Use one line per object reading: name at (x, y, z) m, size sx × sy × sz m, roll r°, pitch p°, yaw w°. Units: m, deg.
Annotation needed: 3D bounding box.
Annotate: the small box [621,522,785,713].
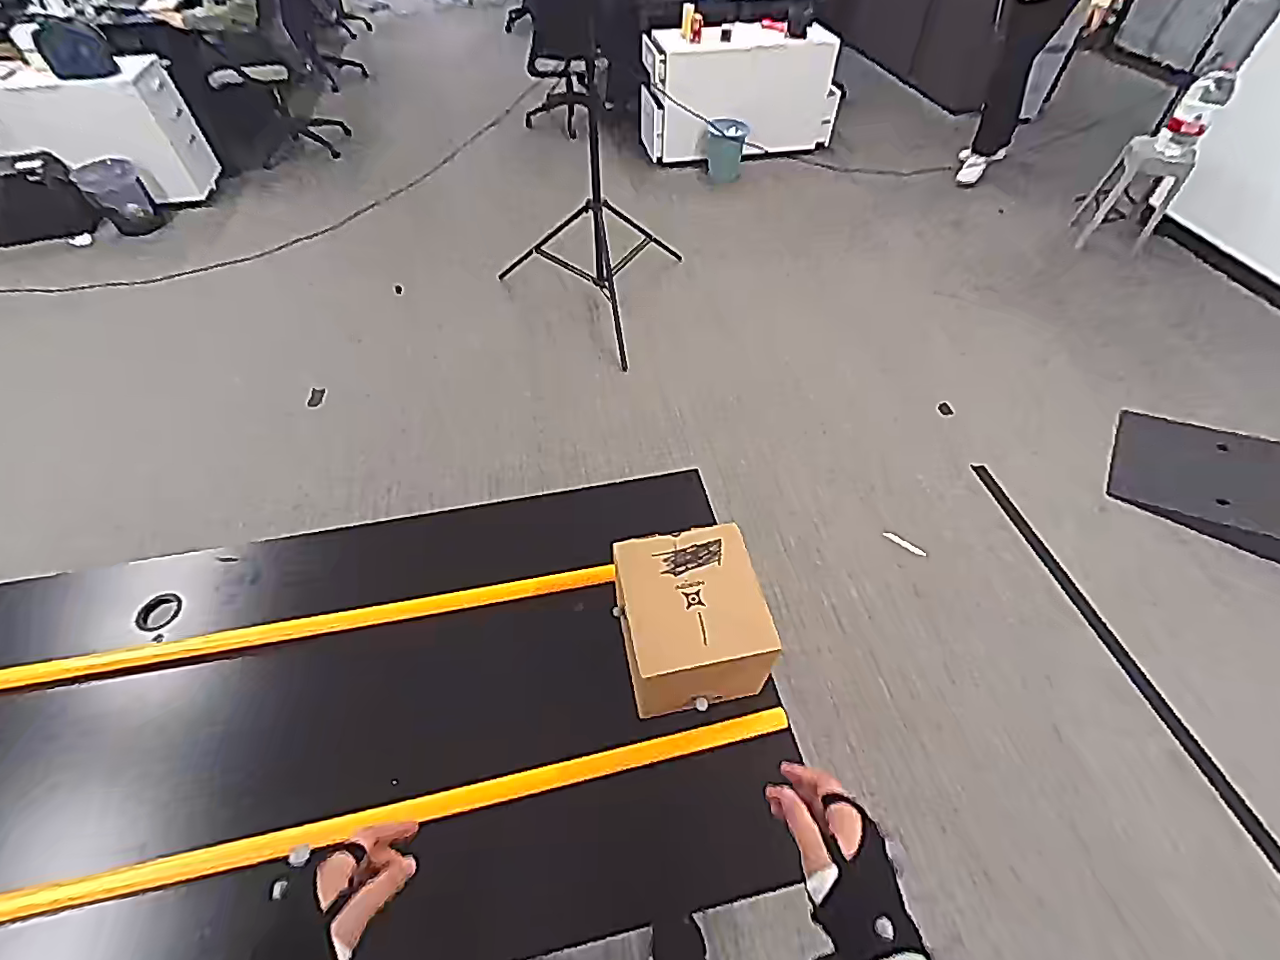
small box at (0.069, 0.183, 0.713) m, size 0.168 × 0.176 × 0.179 m, roll -10°, pitch 53°, yaw -6°
